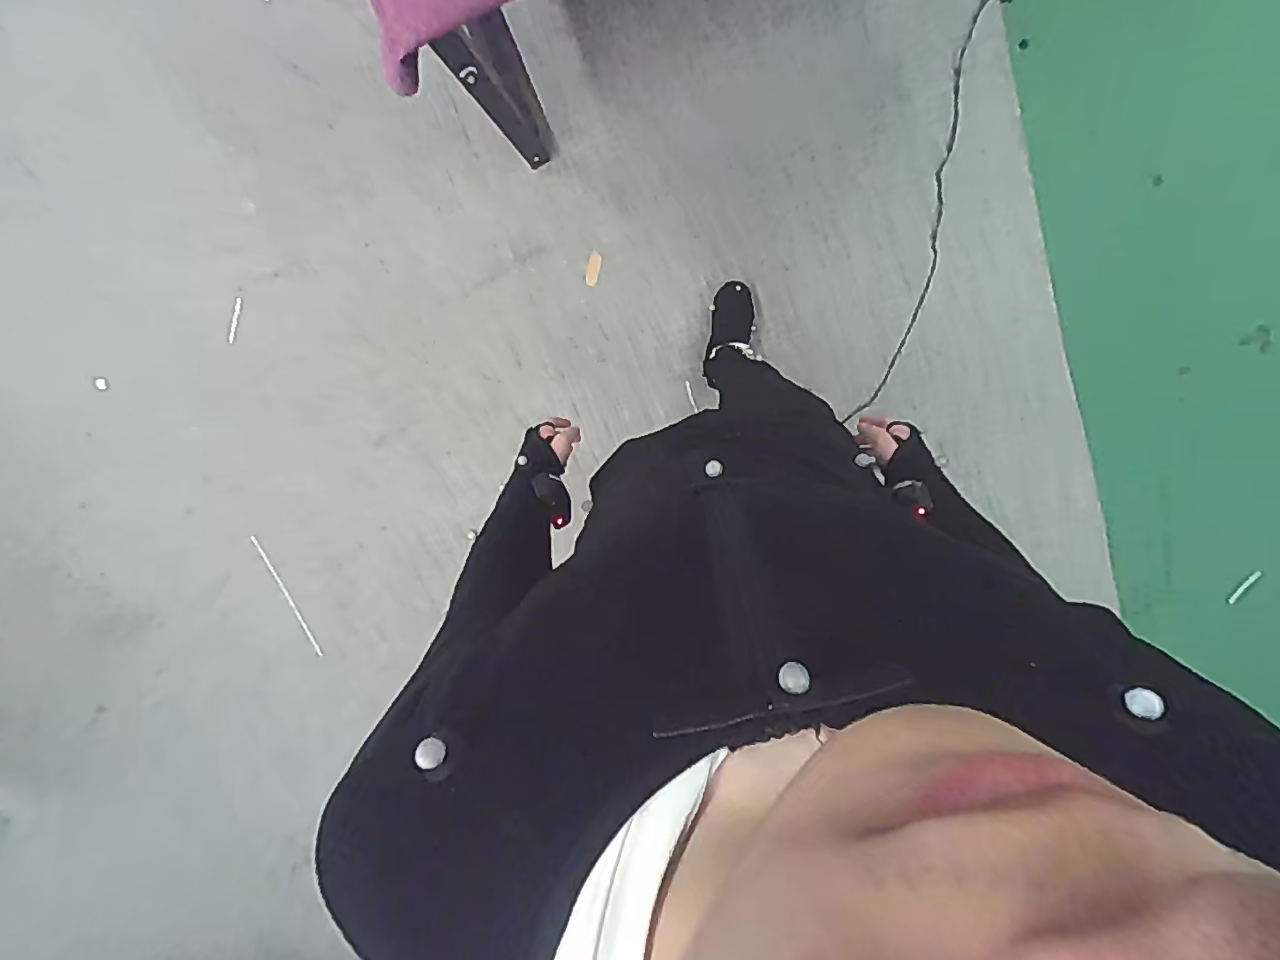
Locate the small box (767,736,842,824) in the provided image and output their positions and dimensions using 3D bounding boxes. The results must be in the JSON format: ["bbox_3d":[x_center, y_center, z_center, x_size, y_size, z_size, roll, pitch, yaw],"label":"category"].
[{"bbox_3d":[0.525,0.961,1.747,0.179,0.176,0.168,-18,101,8],"label":"small box"}]
